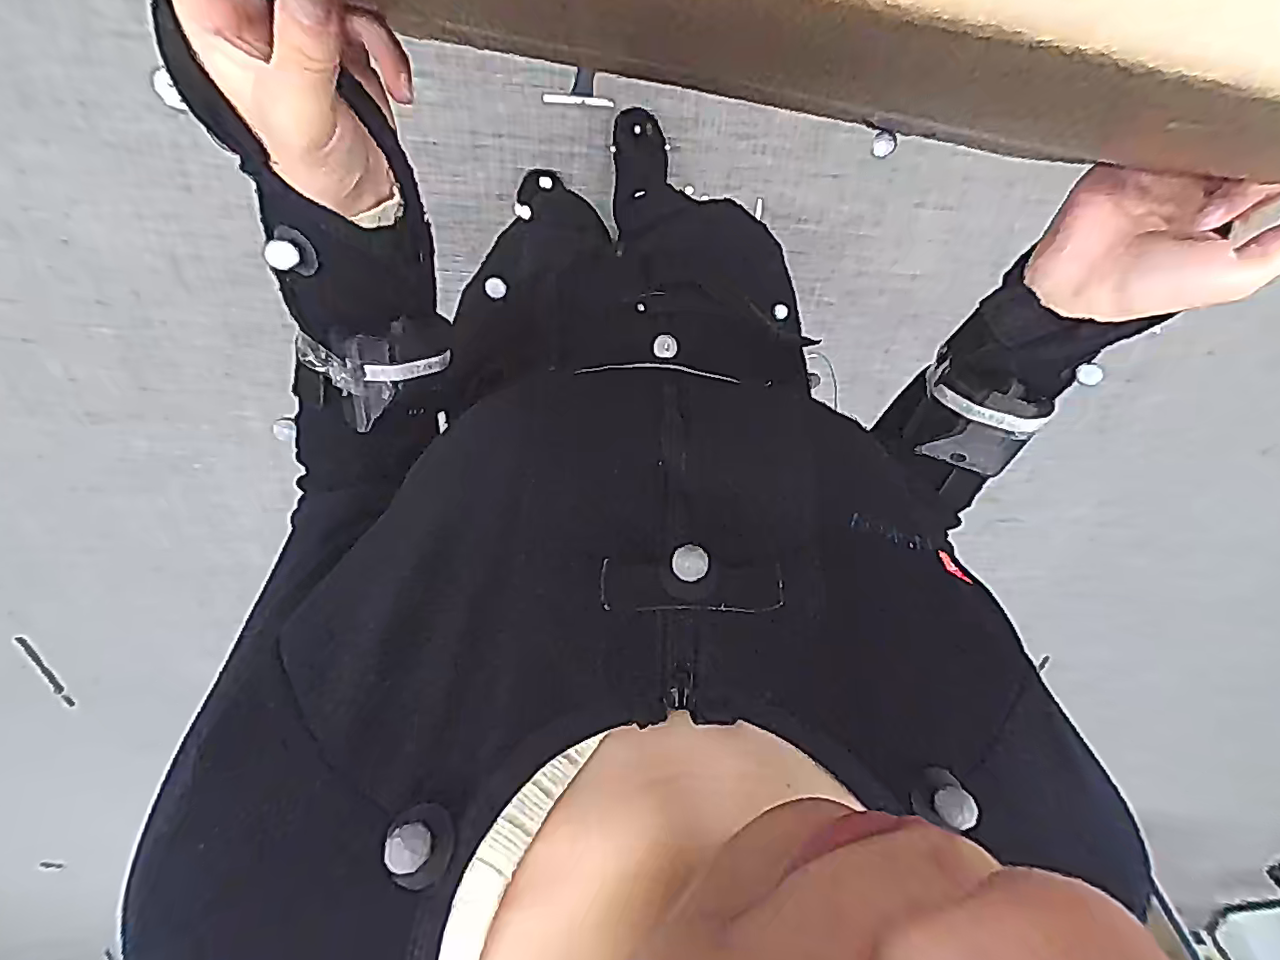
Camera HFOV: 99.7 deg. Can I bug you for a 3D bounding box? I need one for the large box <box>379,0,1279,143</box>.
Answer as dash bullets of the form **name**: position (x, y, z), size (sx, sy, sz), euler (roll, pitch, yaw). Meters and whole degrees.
- **large box**: position (0.090, -0.302, 0.136), size (0.408, 0.320, 0.320), euler (4, 125, -9)
